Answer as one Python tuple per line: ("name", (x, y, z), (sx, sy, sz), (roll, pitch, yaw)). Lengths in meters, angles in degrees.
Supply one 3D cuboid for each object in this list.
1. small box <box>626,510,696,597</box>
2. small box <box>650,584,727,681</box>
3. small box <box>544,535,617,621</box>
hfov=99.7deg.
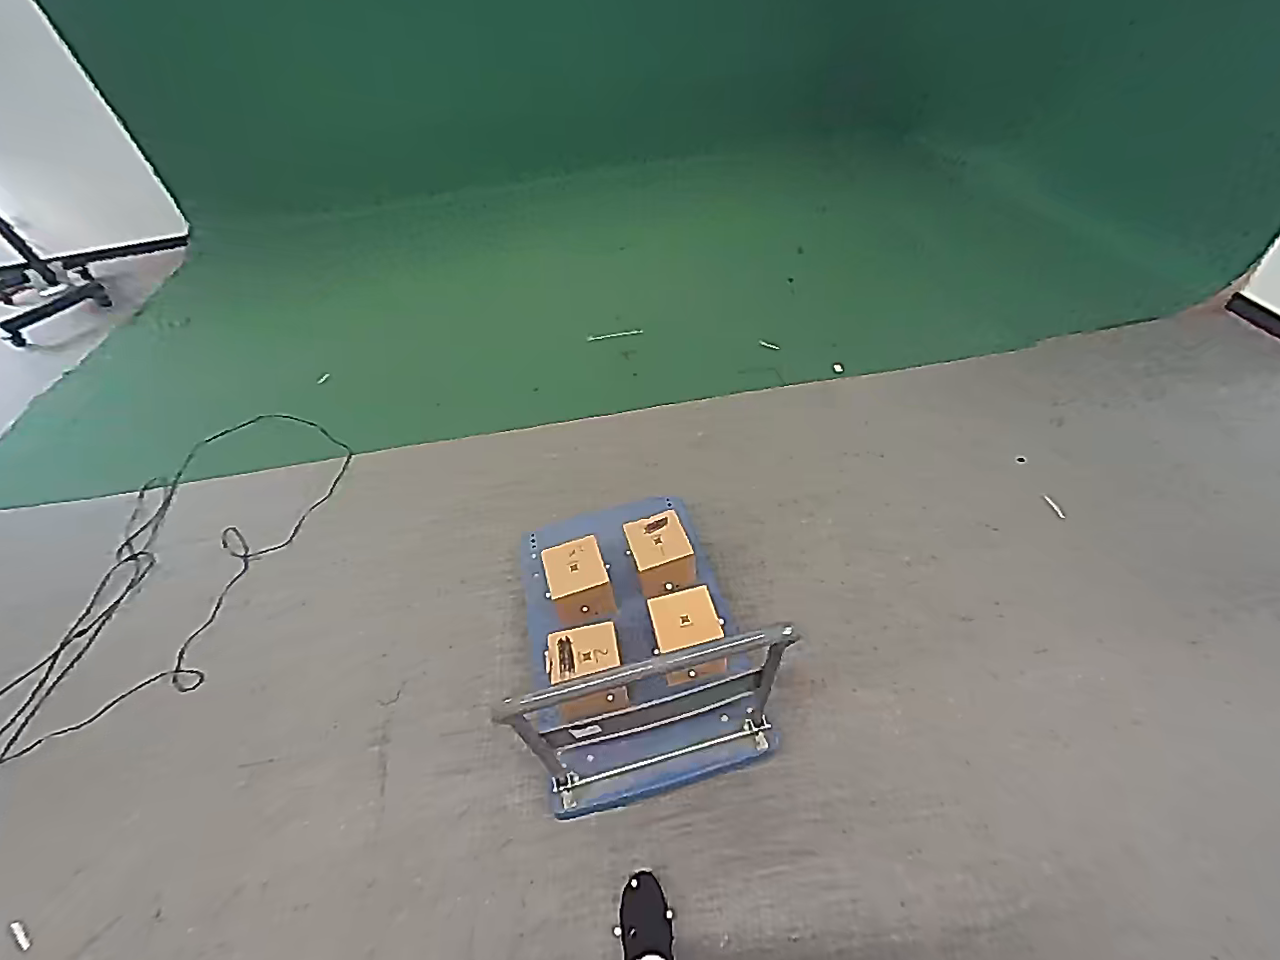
("small box", (0.064, 0.224, 1.646), (0.168, 0.176, 0.179), (-17, 49, -6))
("small box", (0.129, 0.415, 1.466), (0.168, 0.176, 0.179), (-14, 48, -4))
("small box", (-0.175, 0.299, 1.613), (0.168, 0.176, 0.179), (-16, 48, -8))
